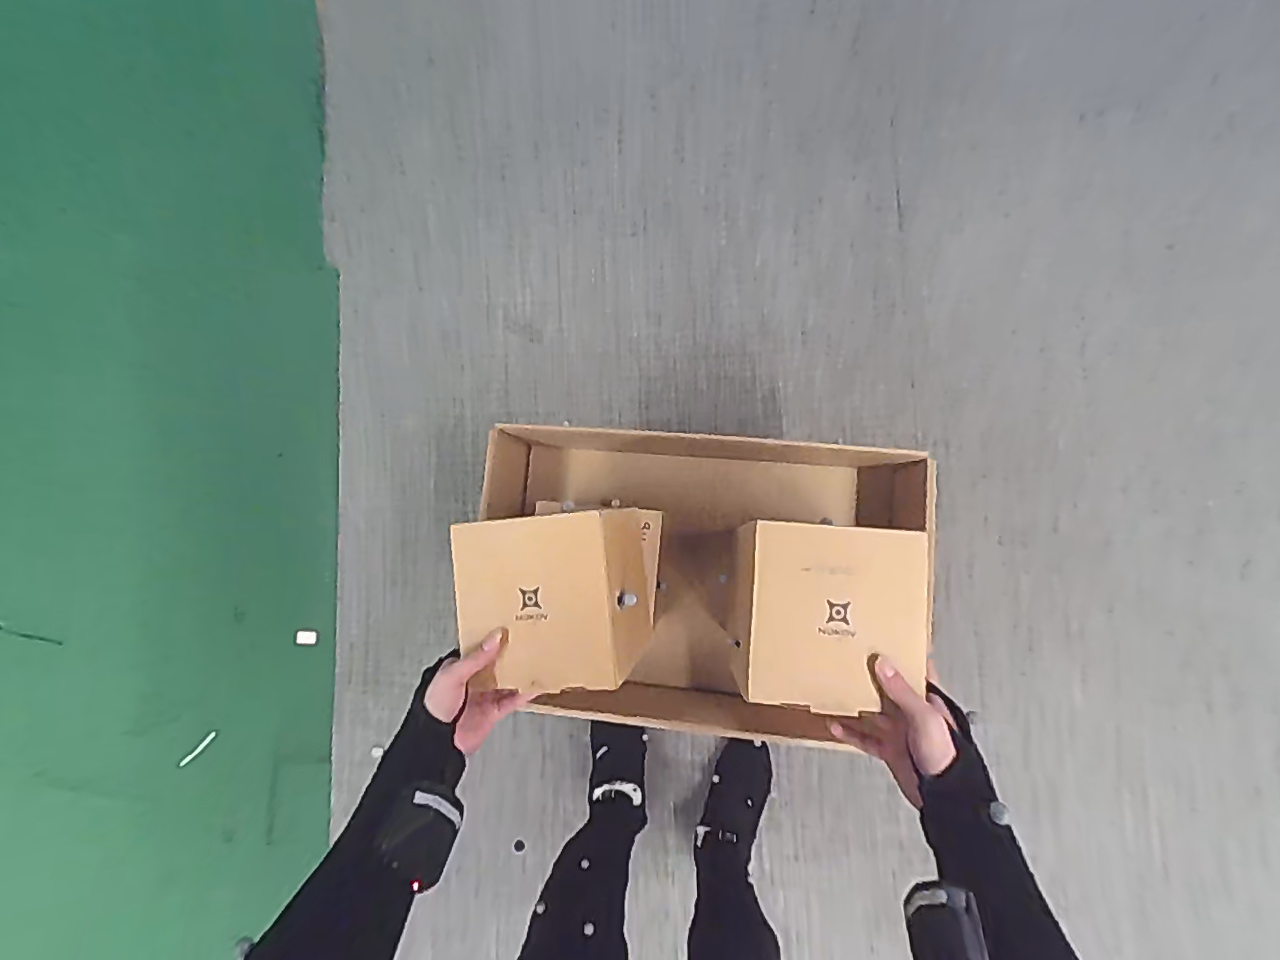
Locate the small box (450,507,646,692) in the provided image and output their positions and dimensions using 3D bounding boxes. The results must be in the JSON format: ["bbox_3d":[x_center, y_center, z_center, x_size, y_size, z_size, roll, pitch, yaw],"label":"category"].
[{"bbox_3d":[-0.092,0.122,0.609,0.168,0.176,0.179,-6,88,11],"label":"small box"}]

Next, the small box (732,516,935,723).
[{"bbox_3d":[0.193,0.137,0.583,0.168,0.176,0.179,5,83,4],"label":"small box"}]

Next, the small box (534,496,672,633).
[{"bbox_3d":[-0.053,0.119,0.786,0.179,0.176,0.168,5,85,8],"label":"small box"}]
